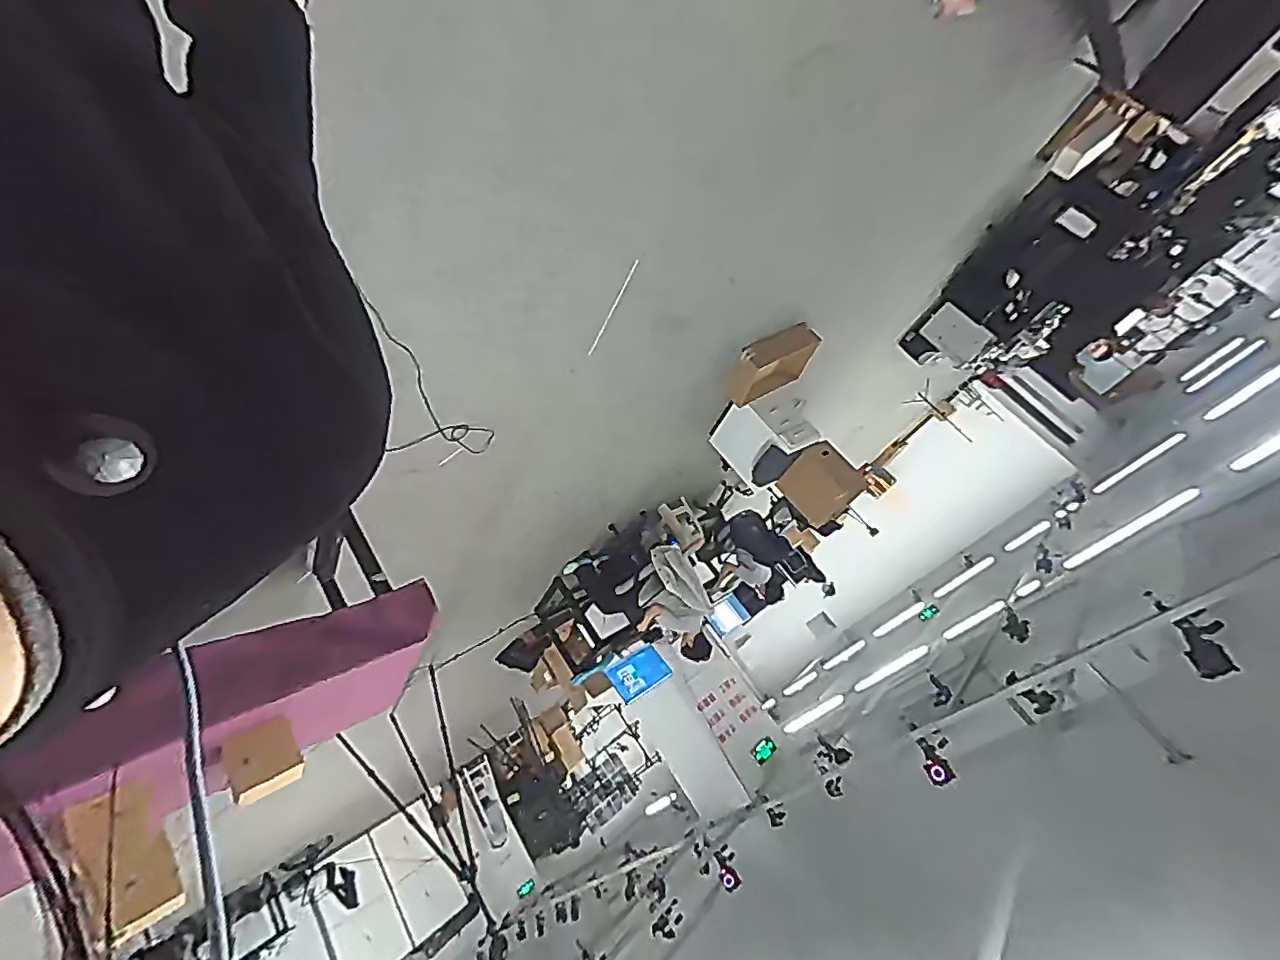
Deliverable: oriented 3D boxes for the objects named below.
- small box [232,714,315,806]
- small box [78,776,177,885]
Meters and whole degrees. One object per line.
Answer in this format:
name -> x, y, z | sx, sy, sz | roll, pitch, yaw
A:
small box -> -1.165, 0.881, 1.711 | 0.179, 0.176, 0.168 | -16, 151, -47
small box -> -1.386, 0.941, 1.466 | 0.168, 0.176, 0.179 | -15, 150, -48
